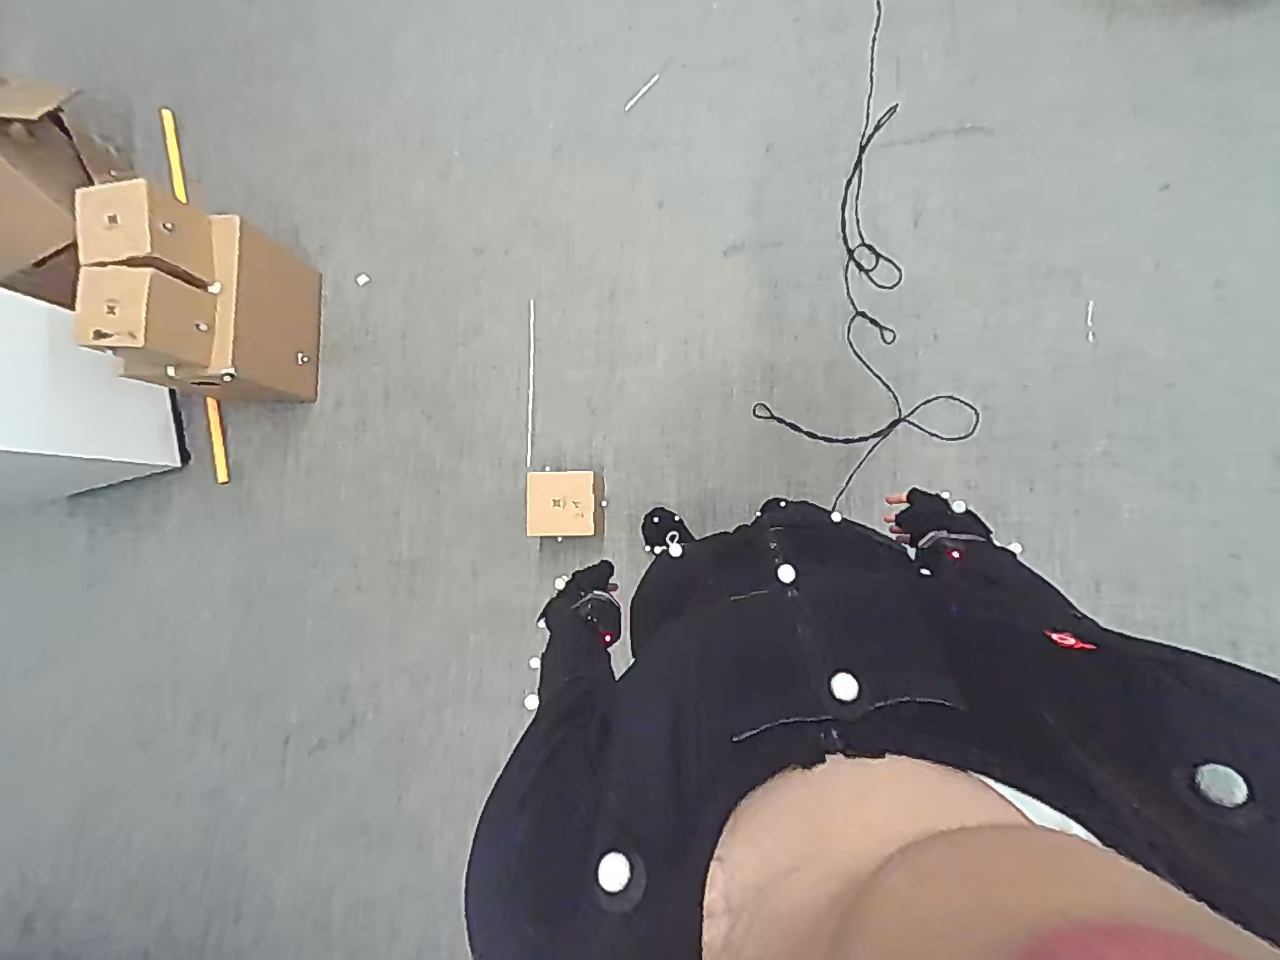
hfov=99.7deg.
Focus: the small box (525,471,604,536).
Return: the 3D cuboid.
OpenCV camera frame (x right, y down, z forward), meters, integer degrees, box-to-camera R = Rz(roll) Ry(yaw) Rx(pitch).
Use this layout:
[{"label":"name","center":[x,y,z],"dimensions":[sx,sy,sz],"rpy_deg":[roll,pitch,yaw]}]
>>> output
[{"label":"small box","center":[-0.197,0.065,1.437],"dimensions":[0.179,0.176,0.168],"rpy_deg":[-1,87,5]}]
